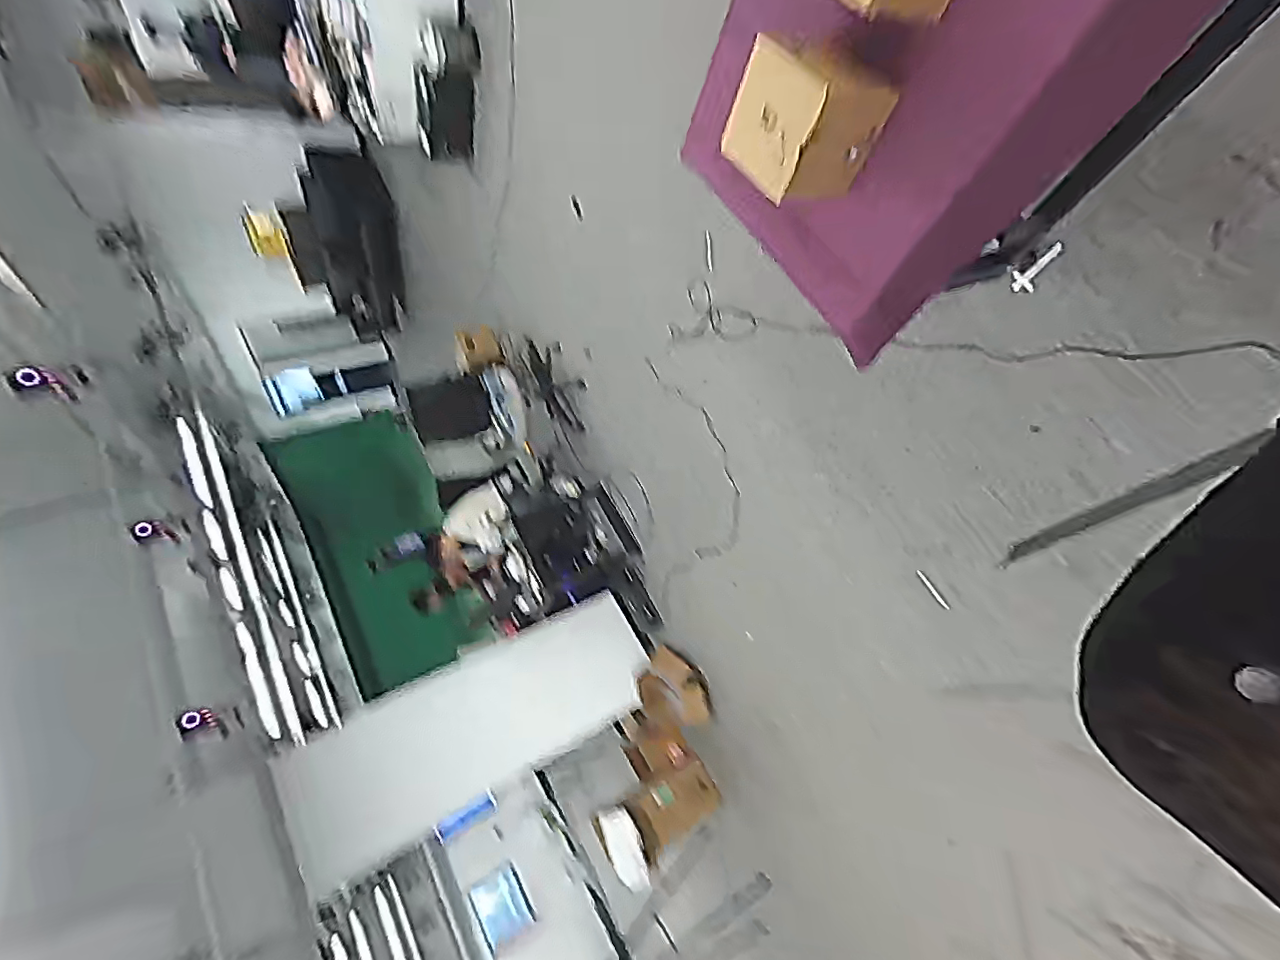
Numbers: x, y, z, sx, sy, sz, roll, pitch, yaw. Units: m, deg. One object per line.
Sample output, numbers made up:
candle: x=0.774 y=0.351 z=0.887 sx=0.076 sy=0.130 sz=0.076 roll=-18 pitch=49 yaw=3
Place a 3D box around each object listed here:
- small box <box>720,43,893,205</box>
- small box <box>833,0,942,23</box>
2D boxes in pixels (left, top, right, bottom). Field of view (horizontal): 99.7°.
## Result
small box: x=0.270 y=-0.586 z=0.898 sx=0.179 sy=0.176 sz=0.168 roll=56 pitch=150 yaw=23
small box: x=0.329 y=-0.730 z=0.701 sx=0.179 sy=0.176 sz=0.168 roll=57 pitch=149 yaw=22
